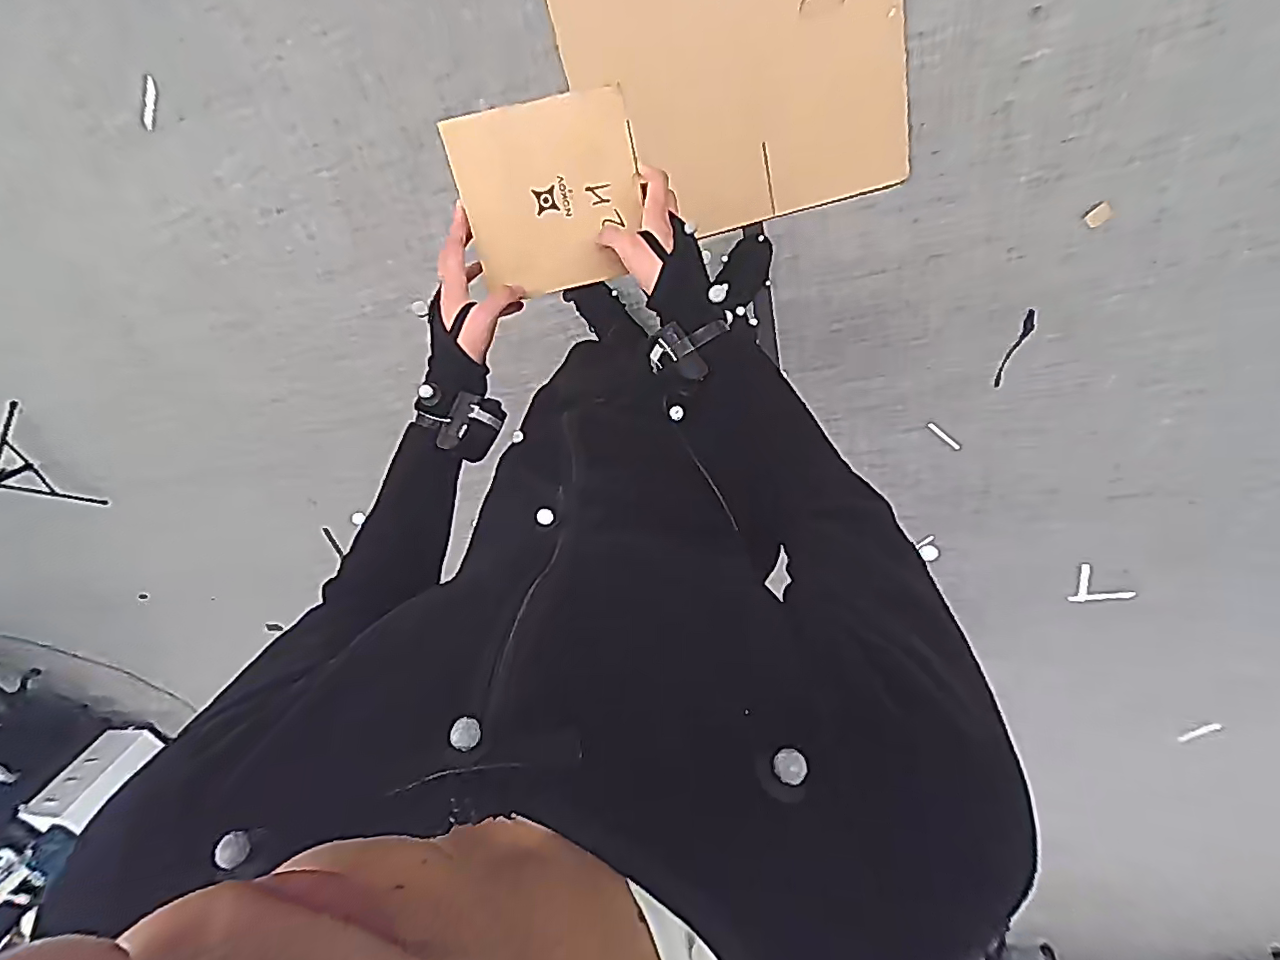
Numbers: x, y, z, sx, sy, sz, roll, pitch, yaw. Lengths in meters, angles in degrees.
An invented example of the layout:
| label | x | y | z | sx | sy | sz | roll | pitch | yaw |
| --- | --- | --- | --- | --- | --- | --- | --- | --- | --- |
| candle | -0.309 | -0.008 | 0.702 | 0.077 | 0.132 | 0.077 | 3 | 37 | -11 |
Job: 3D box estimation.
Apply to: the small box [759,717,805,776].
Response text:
| label | x | y | z | sx | sy | sz | roll | pitch | yaw |
| --- | --- | --- | --- | --- | --- | --- | --- | --- | --- |
| small box | 0.602 | 1.128 | 2.298 | 0.168 | 0.176 | 0.179 | -9 | 120 | 18 |

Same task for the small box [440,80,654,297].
| label | x | y | z | sx | sy | sz | roll | pitch | yaw |
| --- | --- | --- | --- | --- | --- | --- | --- | --- | --- |
| small box | -0.094 | -0.307 | 0.597 | 0.179 | 0.176 | 0.168 | -14 | 115 | -4 |
